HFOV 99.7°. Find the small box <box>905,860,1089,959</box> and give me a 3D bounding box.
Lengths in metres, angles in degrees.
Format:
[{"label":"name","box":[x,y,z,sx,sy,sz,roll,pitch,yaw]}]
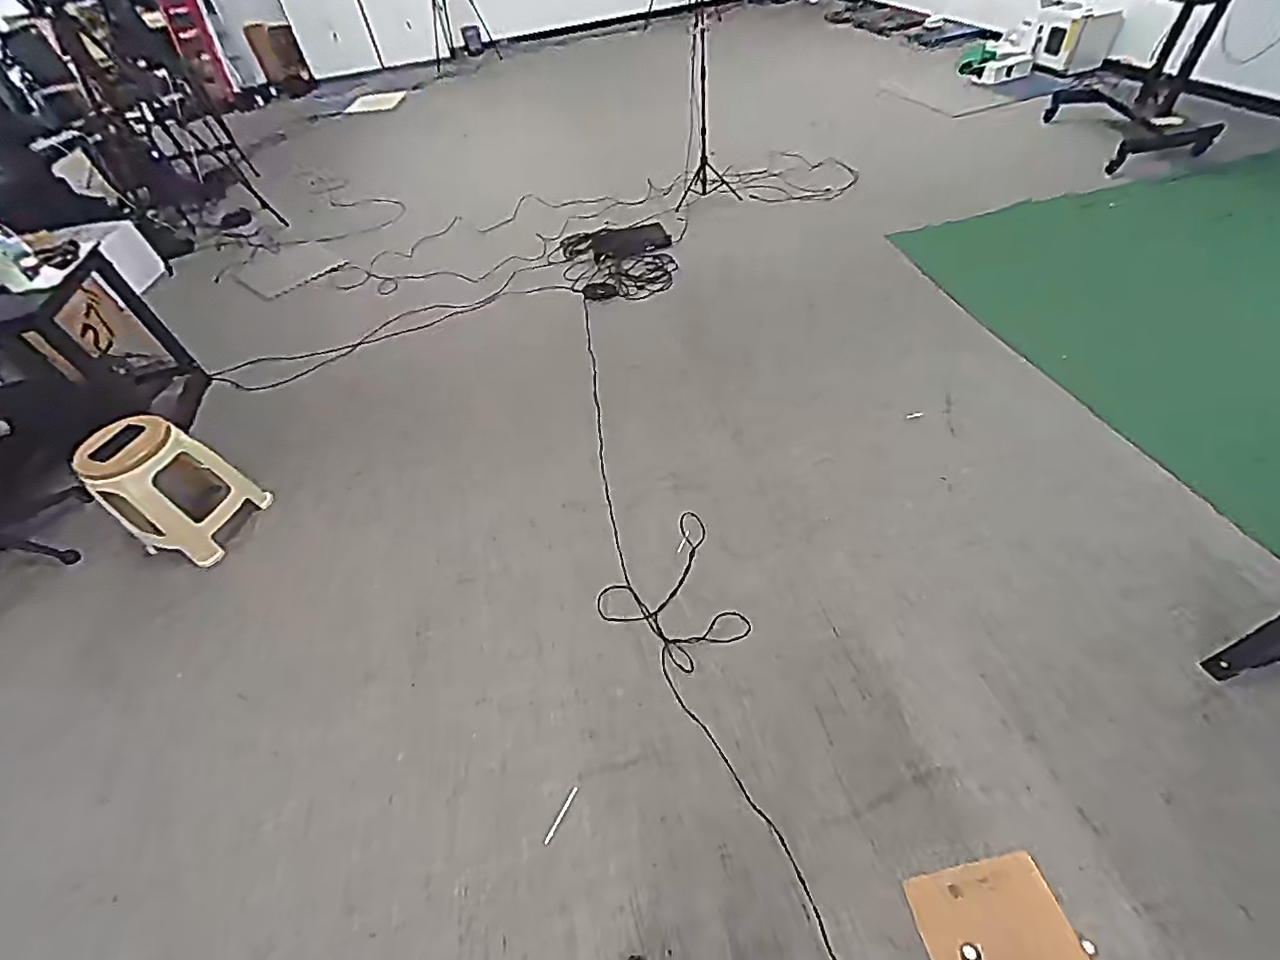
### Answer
[{"label":"small box","box":[0.457,0.607,0.679,0.168,0.179,0.176,-21,31,13]}]
